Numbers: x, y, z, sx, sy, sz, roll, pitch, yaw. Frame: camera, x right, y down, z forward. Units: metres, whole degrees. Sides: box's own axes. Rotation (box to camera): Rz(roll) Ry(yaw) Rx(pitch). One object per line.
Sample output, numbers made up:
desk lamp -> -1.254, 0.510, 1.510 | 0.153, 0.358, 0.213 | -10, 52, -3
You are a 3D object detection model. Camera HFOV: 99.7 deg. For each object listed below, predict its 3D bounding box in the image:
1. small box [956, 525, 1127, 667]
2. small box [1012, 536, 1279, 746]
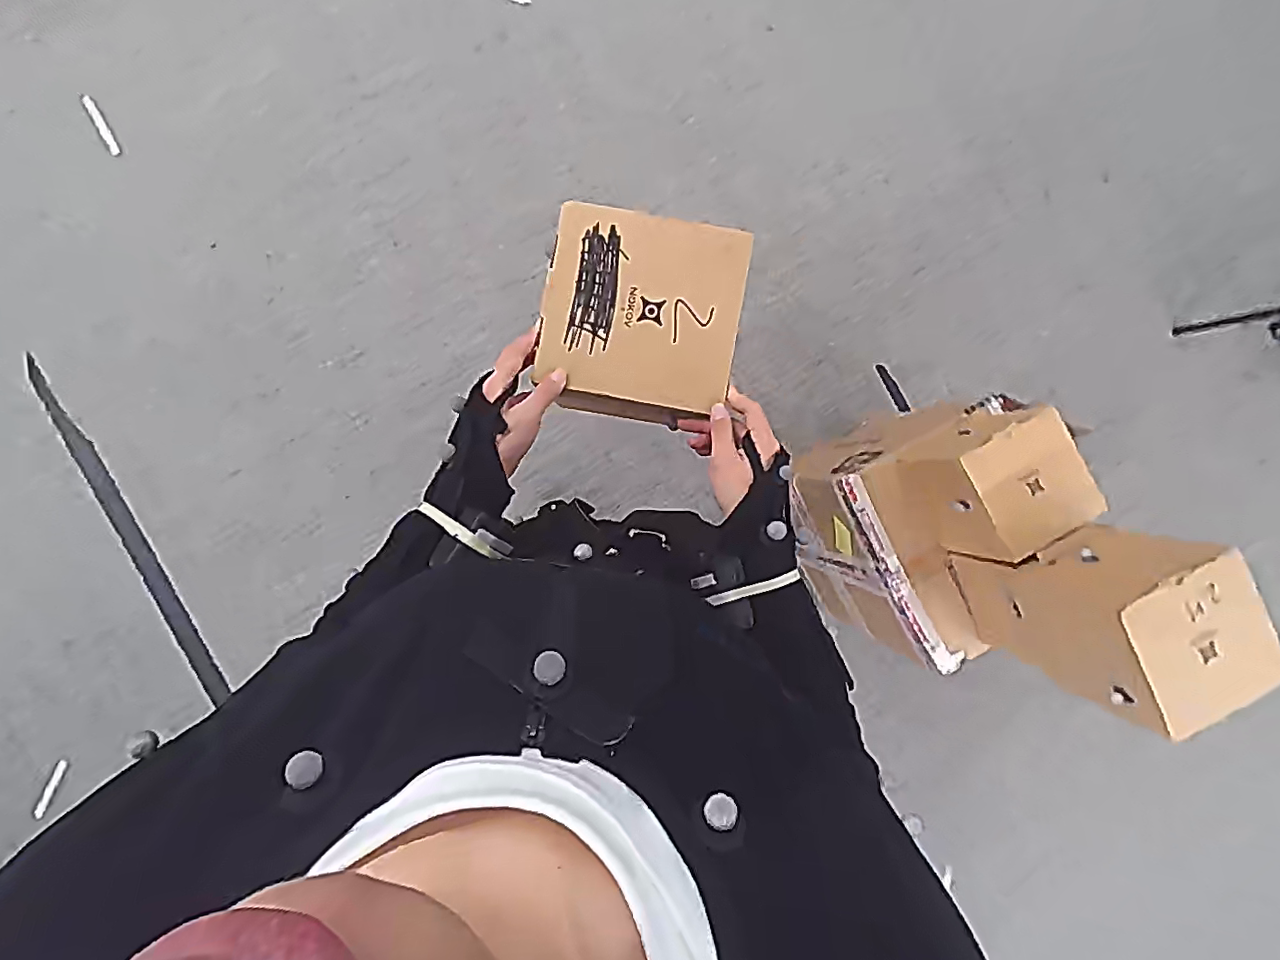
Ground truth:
small box -> 0.644, 0.179, 0.856 | 0.168, 0.176, 0.179 | -22, 93, -3
small box -> 0.633, 0.189, 0.690 | 0.168, 0.176, 0.179 | -26, 93, -4
